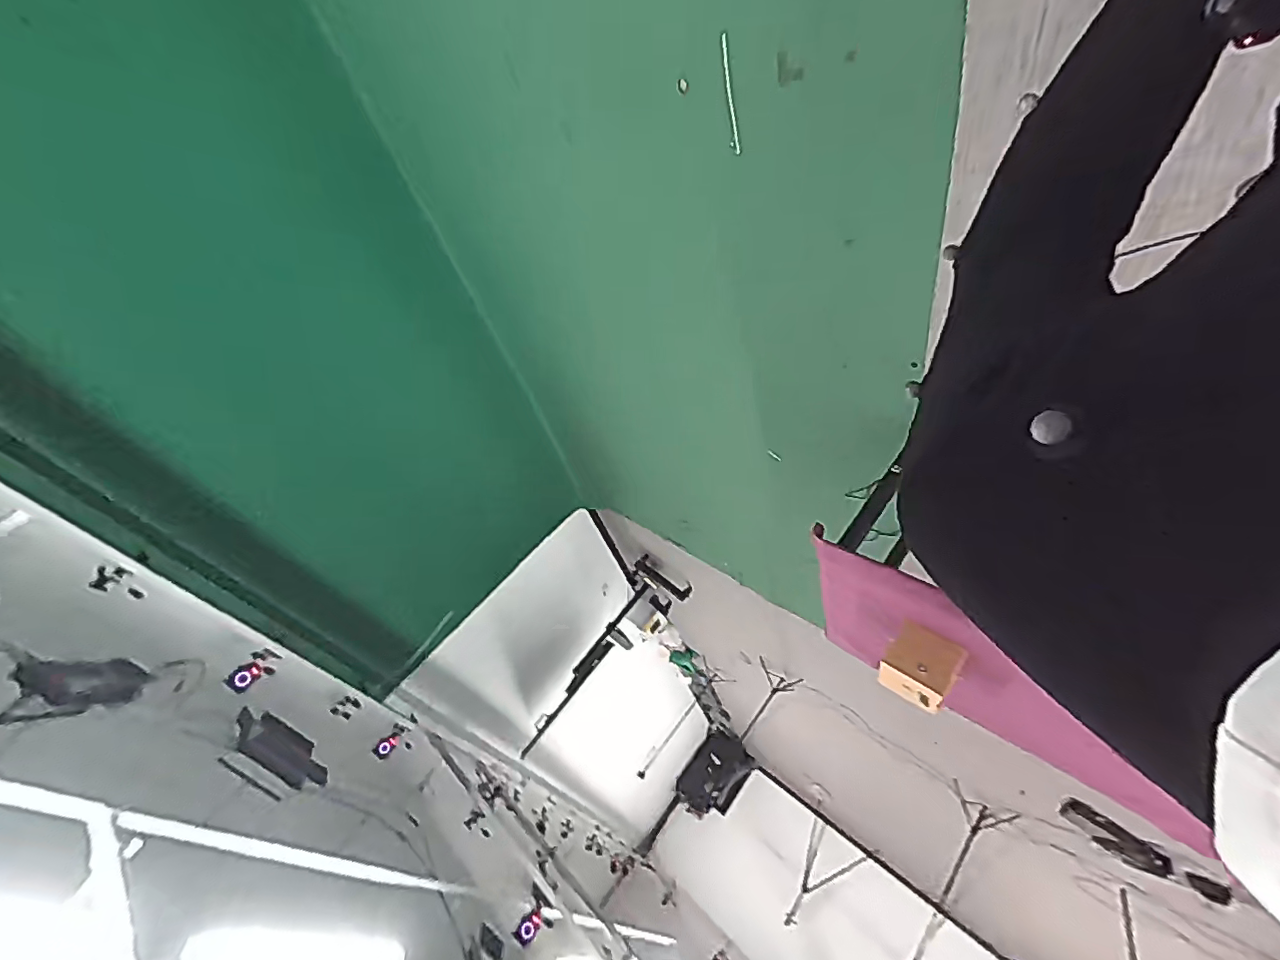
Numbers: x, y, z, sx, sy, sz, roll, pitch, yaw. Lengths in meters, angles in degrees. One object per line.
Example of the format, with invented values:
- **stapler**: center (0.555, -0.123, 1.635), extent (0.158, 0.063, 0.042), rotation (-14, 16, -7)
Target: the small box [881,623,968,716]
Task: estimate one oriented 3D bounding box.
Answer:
- **small box**: center (0.850, 0.561, 1.616), extent (0.179, 0.176, 0.168), rotation (27, 153, 36)
